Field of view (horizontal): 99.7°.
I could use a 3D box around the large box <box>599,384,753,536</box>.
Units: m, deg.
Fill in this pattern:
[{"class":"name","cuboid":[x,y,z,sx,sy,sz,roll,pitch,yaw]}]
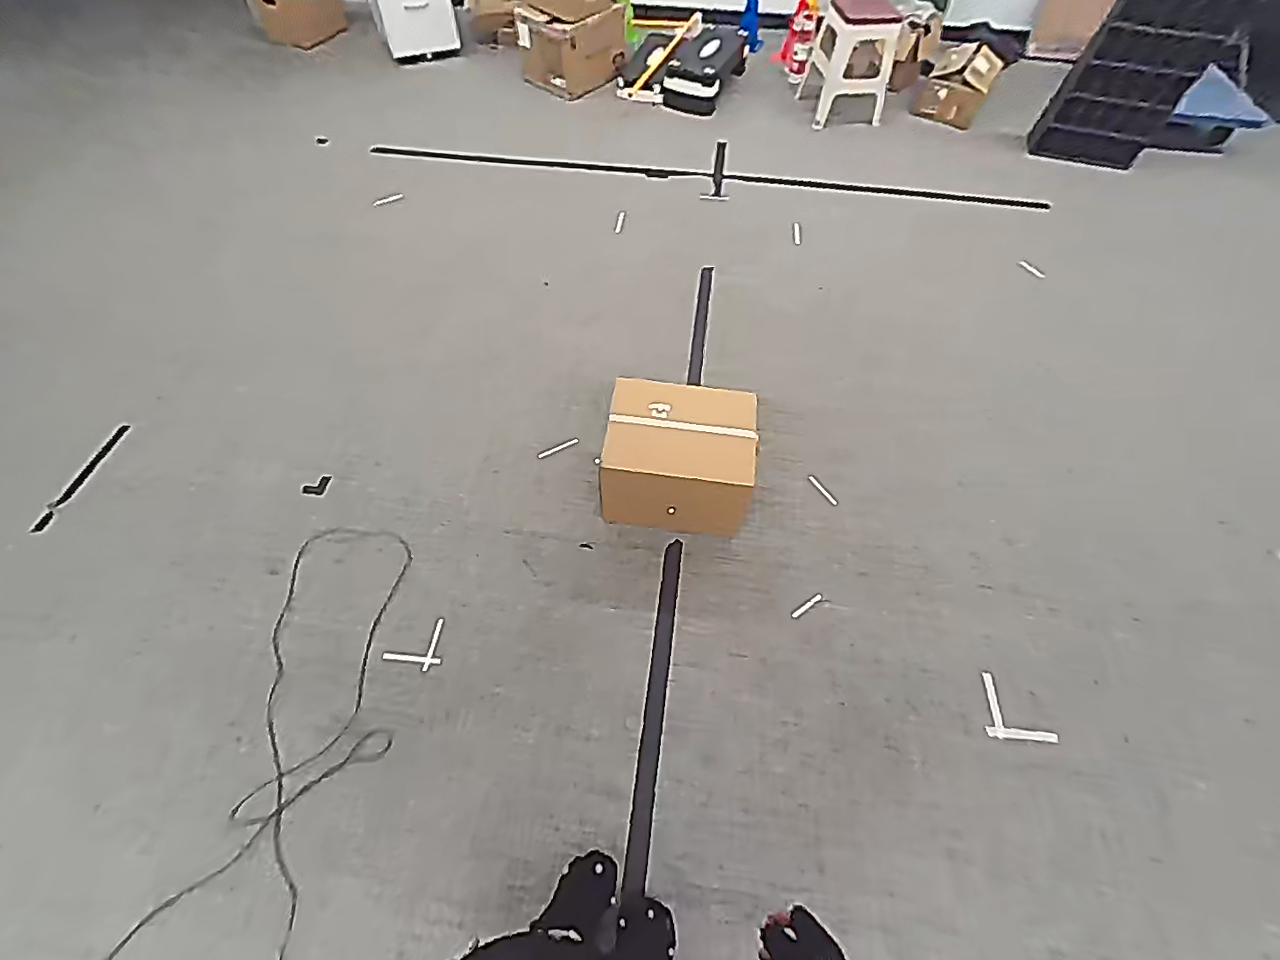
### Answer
[{"class":"large box","cuboid":[0.109,-0.051,1.597,0.408,0.320,0.320,7,58,4]}]
